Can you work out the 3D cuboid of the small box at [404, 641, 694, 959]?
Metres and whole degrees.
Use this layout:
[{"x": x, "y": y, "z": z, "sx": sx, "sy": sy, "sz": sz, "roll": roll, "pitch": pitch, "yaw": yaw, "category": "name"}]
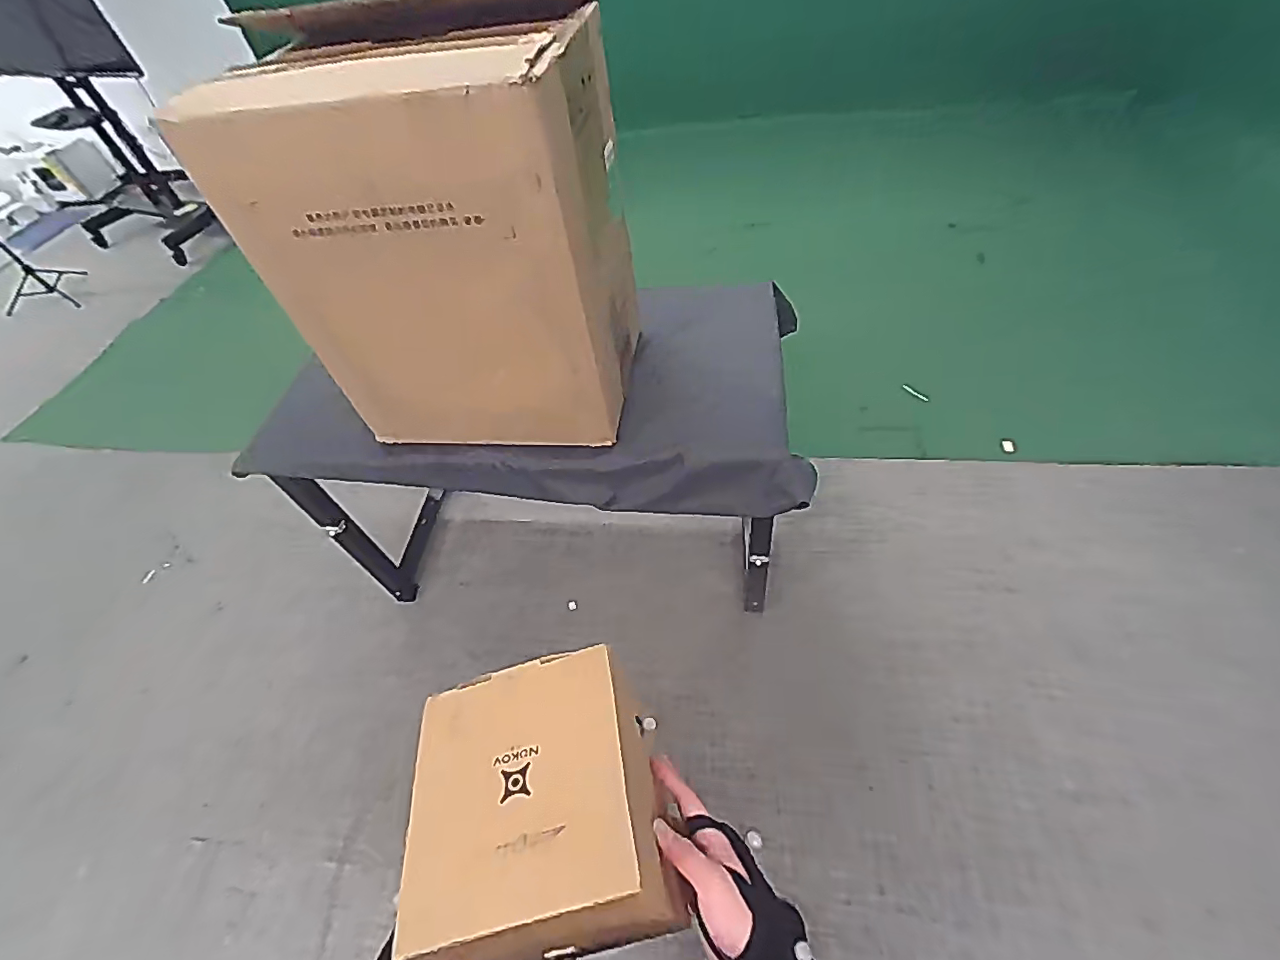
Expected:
[{"x": -0.065, "y": 0.270, "z": 0.448, "sx": 0.168, "sy": 0.176, "sz": 0.179, "roll": -18, "pitch": 43, "yaw": 2, "category": "small box"}]
